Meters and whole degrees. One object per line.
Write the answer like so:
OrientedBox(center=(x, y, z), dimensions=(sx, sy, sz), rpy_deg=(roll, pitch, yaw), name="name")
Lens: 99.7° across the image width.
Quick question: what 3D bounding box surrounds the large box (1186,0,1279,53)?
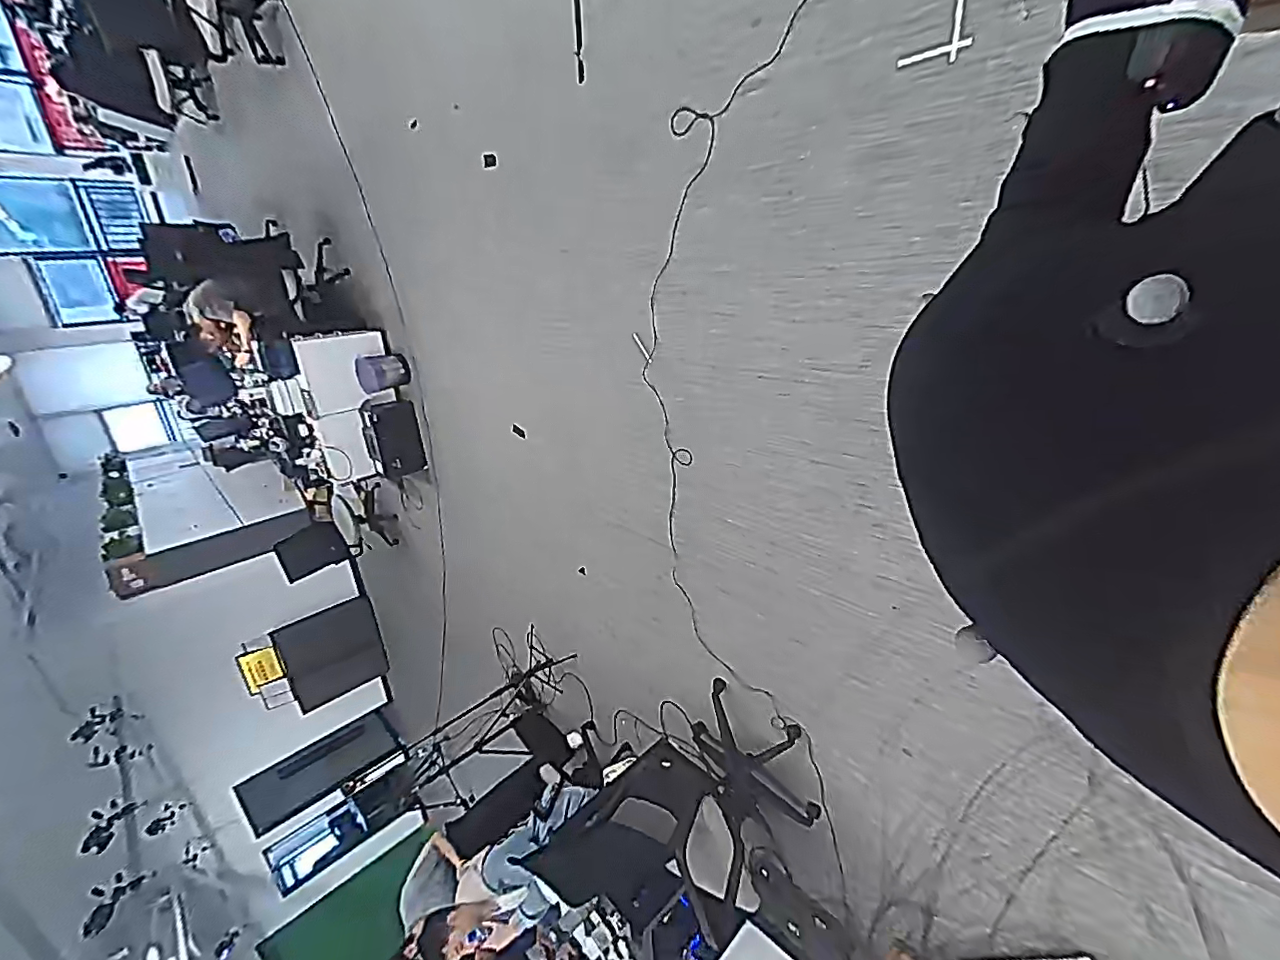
OrientedBox(center=(0.597, -0.439, 0.256), dimensions=(0.408, 0.320, 0.320), rpy_deg=(22, 132, 39), name="large box")
